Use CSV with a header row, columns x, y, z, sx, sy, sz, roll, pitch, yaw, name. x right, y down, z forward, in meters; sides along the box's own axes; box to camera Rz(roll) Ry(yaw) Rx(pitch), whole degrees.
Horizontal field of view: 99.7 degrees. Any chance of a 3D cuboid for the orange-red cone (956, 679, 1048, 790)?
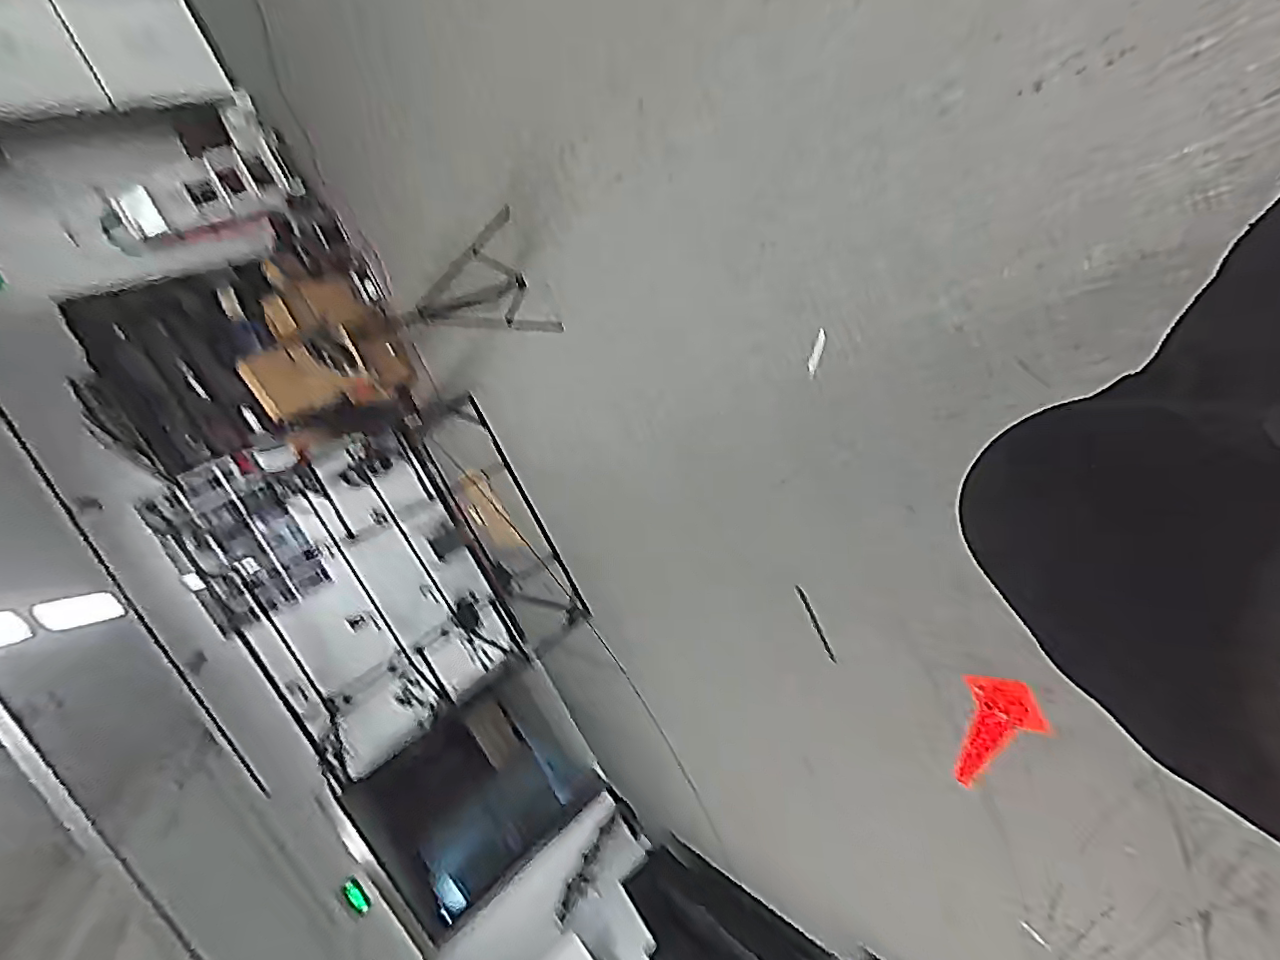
x,y,z,sx,sy,sz,roll,pitch,yaw,name
1.098,0.836,1.714,0.199,0.360,0.198,60,150,-6,orange-red cone
